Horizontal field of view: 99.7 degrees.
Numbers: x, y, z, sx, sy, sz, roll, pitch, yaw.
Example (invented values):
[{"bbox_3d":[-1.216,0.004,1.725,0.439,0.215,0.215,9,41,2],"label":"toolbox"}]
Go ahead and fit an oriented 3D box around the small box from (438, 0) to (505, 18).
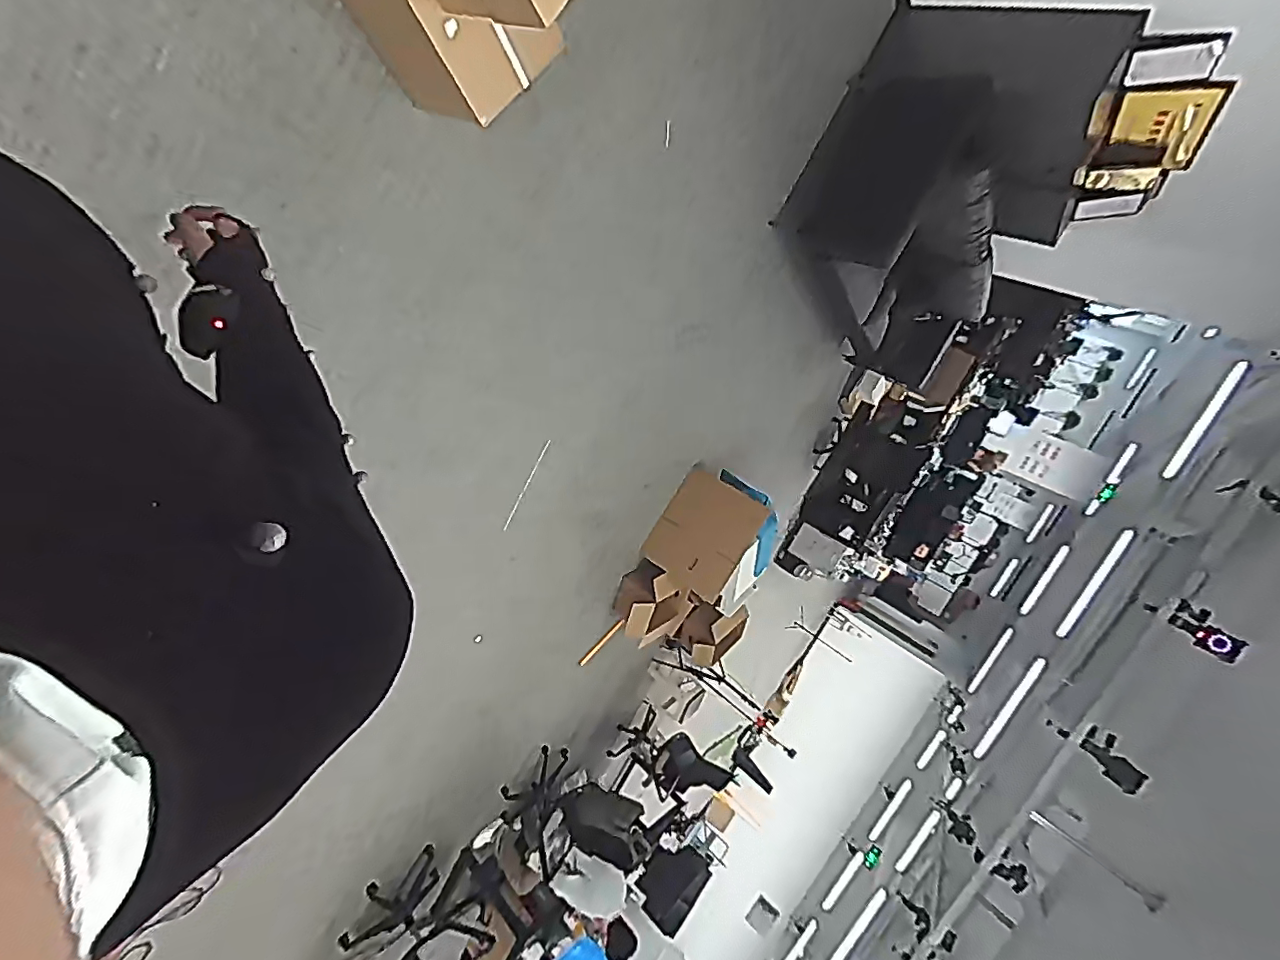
[{"bbox_3d":[-0.327,-1.017,1.007,0.179,0.176,0.168,-55,151,-1],"label":"small box"}]
